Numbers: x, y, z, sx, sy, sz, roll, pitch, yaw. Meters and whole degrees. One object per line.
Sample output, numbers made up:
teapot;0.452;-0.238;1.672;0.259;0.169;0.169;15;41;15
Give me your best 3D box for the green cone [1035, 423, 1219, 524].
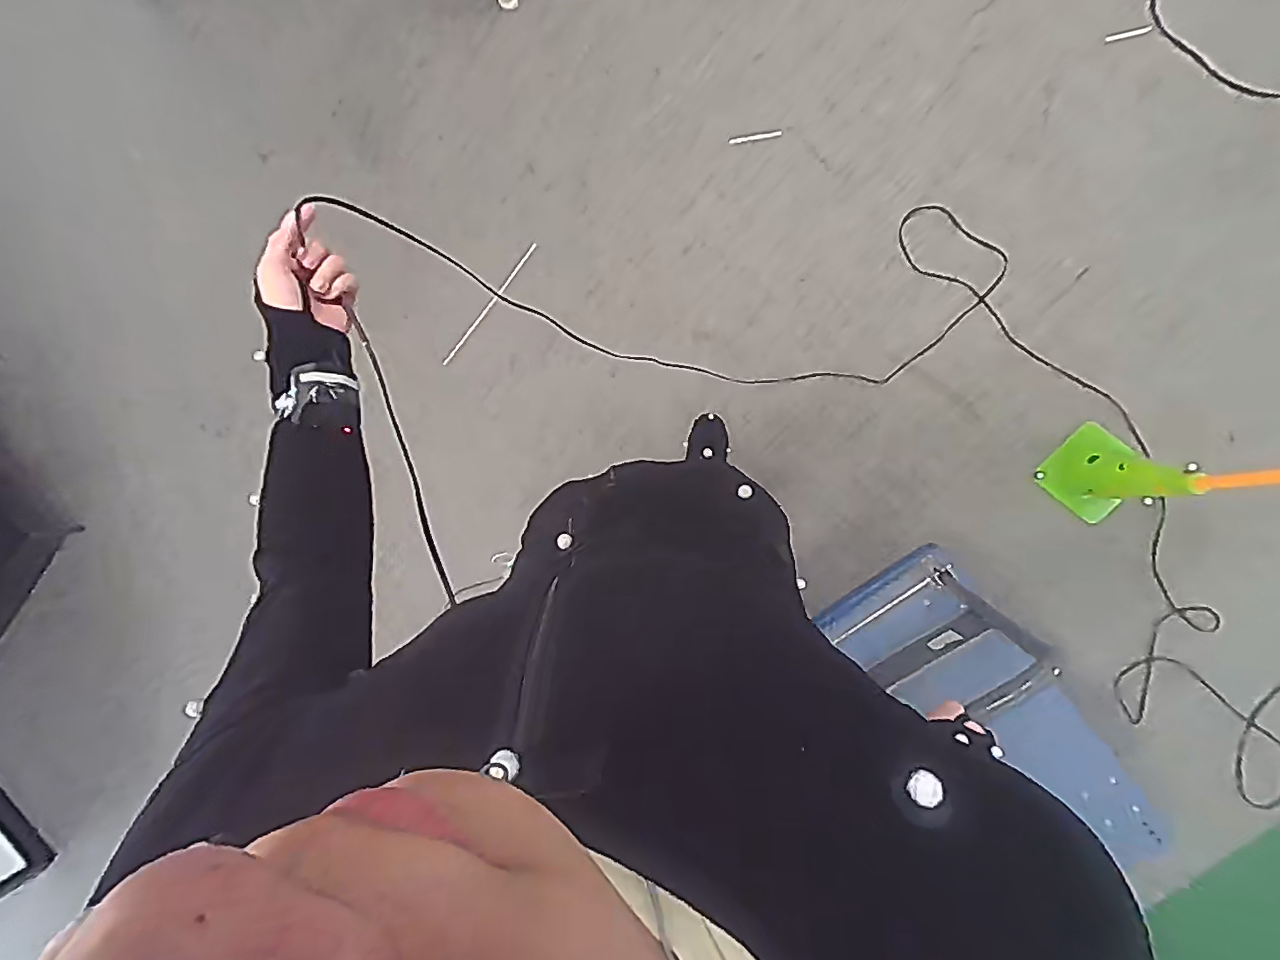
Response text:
green cone;1.116;-0.003;1.205;0.200;0.368;0.202;41;100;6
